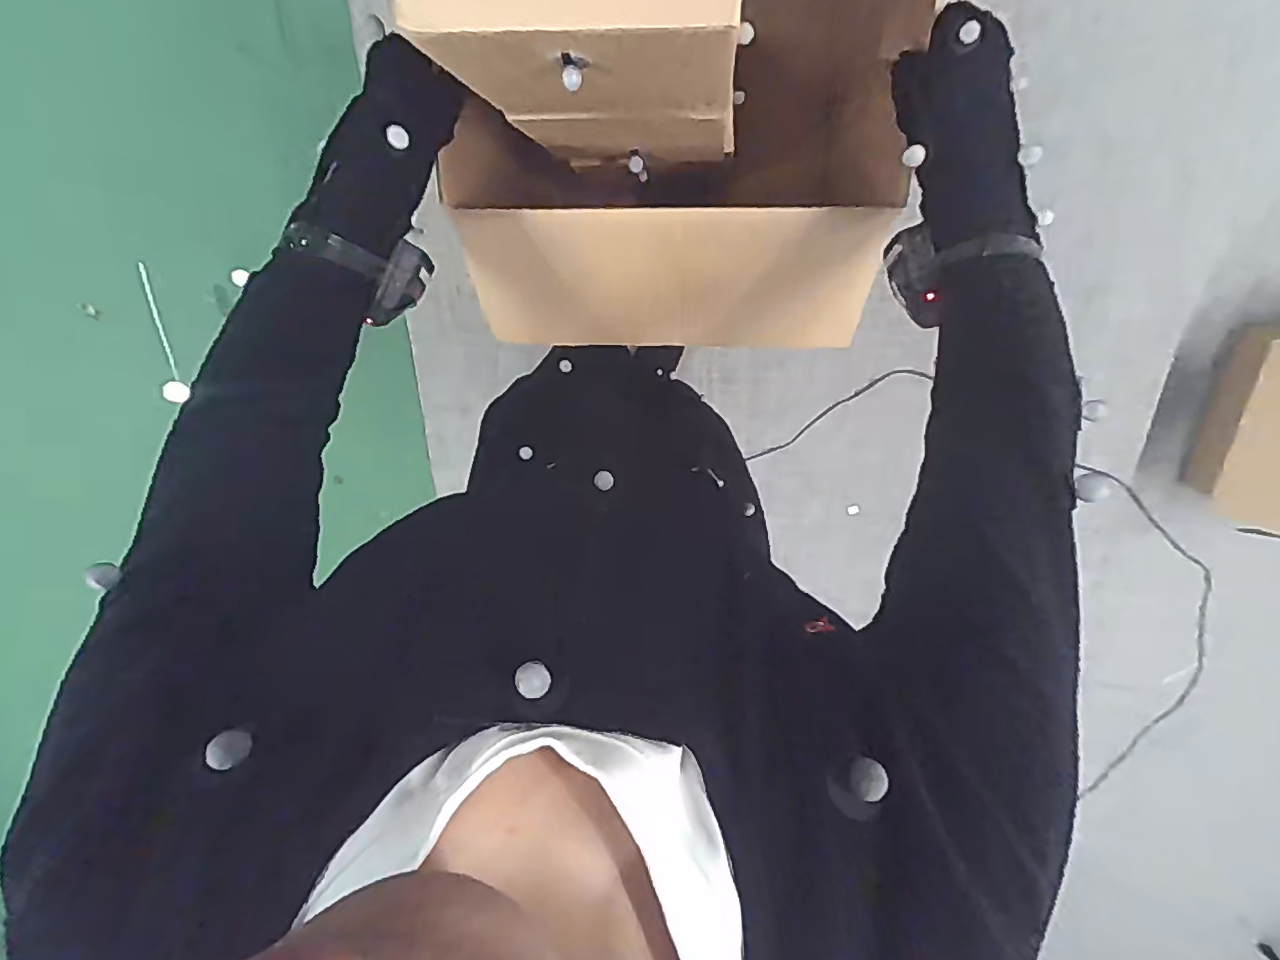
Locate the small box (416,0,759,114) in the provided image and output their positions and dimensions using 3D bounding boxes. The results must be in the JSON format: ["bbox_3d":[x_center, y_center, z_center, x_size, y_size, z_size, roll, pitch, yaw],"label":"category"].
[{"bbox_3d":[-0.018,-0.330,0.315,0.179,0.176,0.168,2,112,6],"label":"small box"}]
